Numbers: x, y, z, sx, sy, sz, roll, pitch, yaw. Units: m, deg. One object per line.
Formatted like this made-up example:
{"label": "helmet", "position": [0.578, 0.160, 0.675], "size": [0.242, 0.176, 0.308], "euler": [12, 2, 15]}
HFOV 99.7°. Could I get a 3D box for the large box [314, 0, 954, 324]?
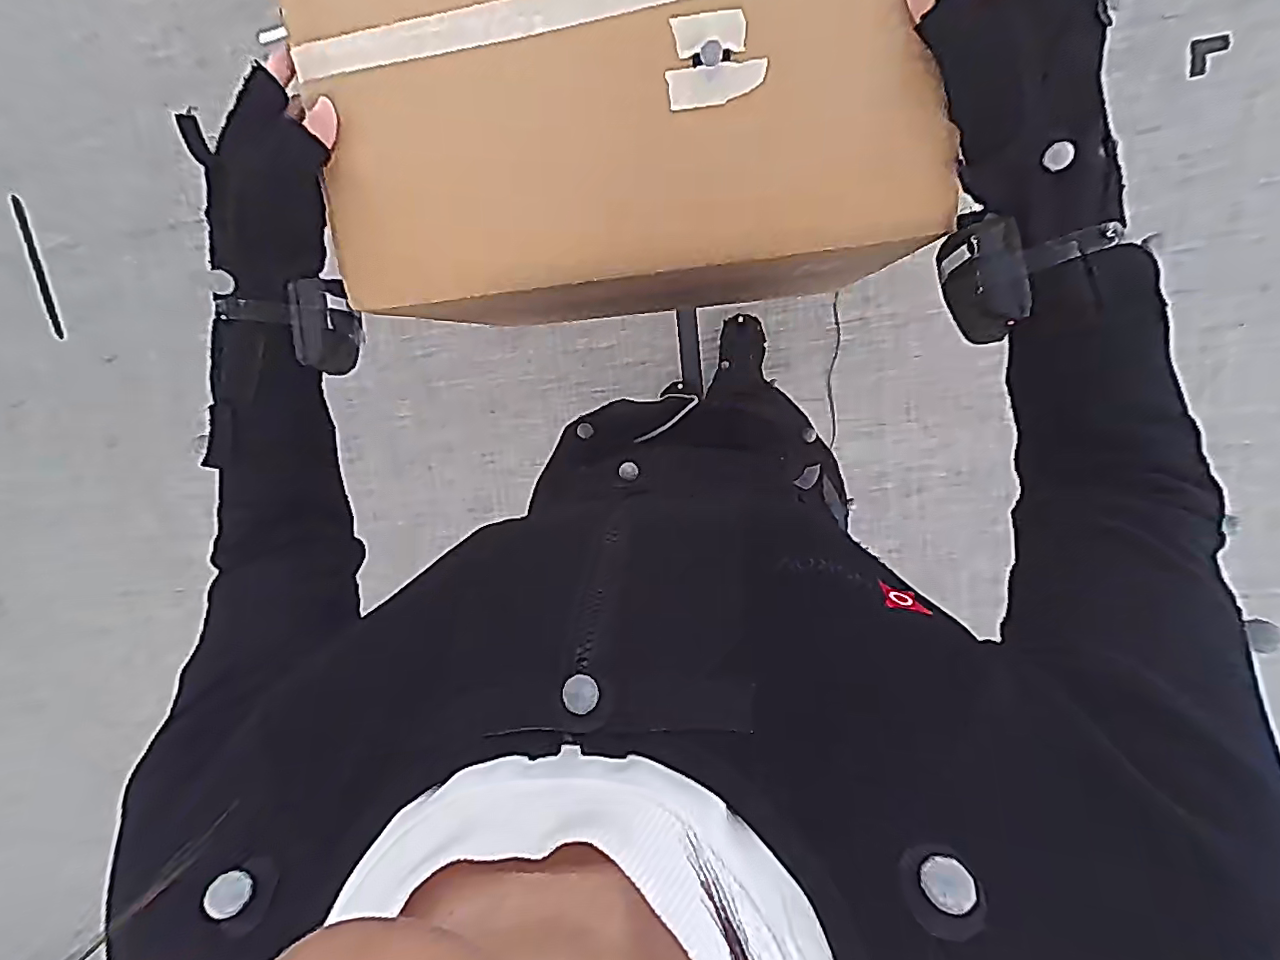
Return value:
{"label": "large box", "position": [0.001, -0.330, 0.479], "size": [0.408, 0.320, 0.320], "euler": [-4, 103, 9]}
